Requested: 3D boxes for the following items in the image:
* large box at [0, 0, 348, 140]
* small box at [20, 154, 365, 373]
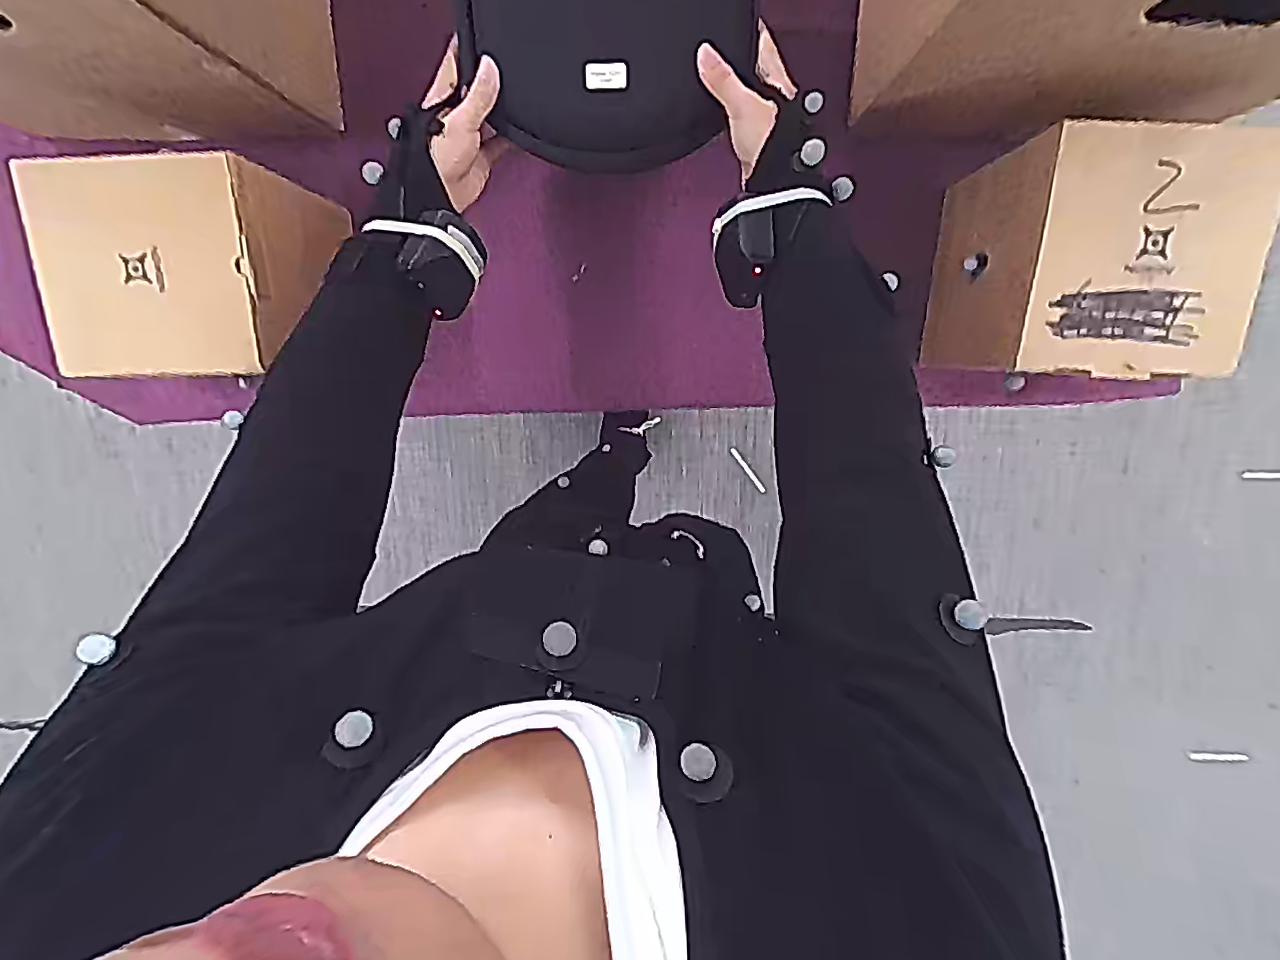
[{"bbox_3d":[-0.453,-0.507,0.369,0.320,0.320,0.408,0,106,1],"label":"large box"},{"bbox_3d":[-0.398,-0.188,0.516,0.179,0.176,0.168,-2,102,2],"label":"small box"}]
